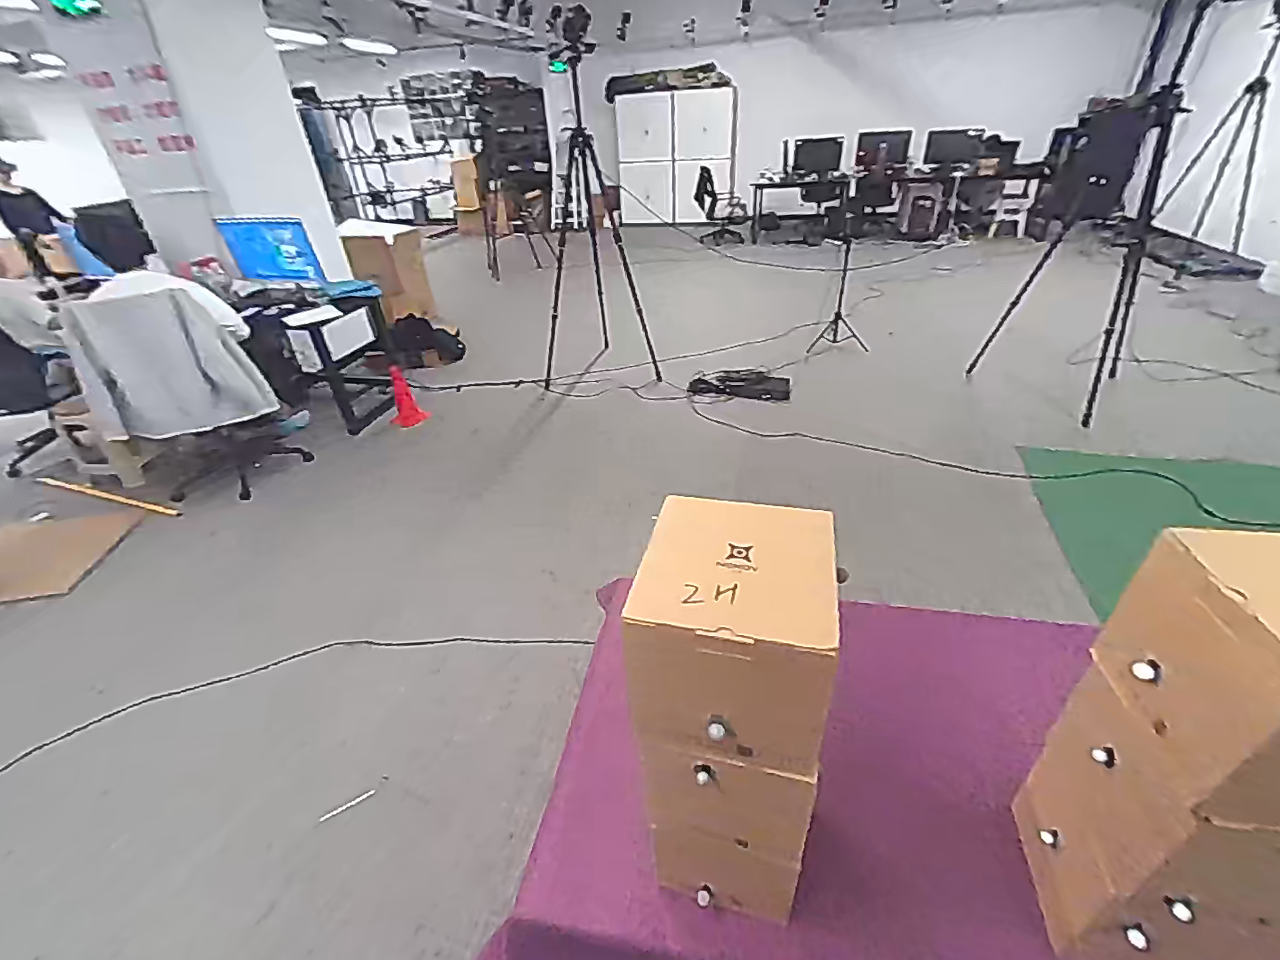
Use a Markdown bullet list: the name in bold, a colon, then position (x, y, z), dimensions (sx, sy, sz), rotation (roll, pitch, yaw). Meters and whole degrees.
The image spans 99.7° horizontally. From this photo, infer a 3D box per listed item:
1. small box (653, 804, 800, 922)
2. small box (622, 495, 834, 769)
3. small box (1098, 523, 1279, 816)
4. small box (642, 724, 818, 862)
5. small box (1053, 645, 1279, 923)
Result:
- **small box**: position (0.120, 0.414, 0.696), dimensions (0.168, 0.176, 0.179), rotation (6, 35, 17)
- **small box**: position (0.089, 0.137, 0.521), dimensions (0.168, 0.176, 0.179), rotation (5, 35, 15)
- **small box**: position (0.535, 0.154, 0.439), dimensions (0.179, 0.176, 0.168), rotation (1, 33, 11)
- **small box**: position (0.108, 0.277, 0.606), dimensions (0.168, 0.176, 0.179), rotation (5, 33, 17)
- **small box**: position (0.550, 0.292, 0.526), dimensions (0.168, 0.176, 0.179), rotation (3, 33, 12)
